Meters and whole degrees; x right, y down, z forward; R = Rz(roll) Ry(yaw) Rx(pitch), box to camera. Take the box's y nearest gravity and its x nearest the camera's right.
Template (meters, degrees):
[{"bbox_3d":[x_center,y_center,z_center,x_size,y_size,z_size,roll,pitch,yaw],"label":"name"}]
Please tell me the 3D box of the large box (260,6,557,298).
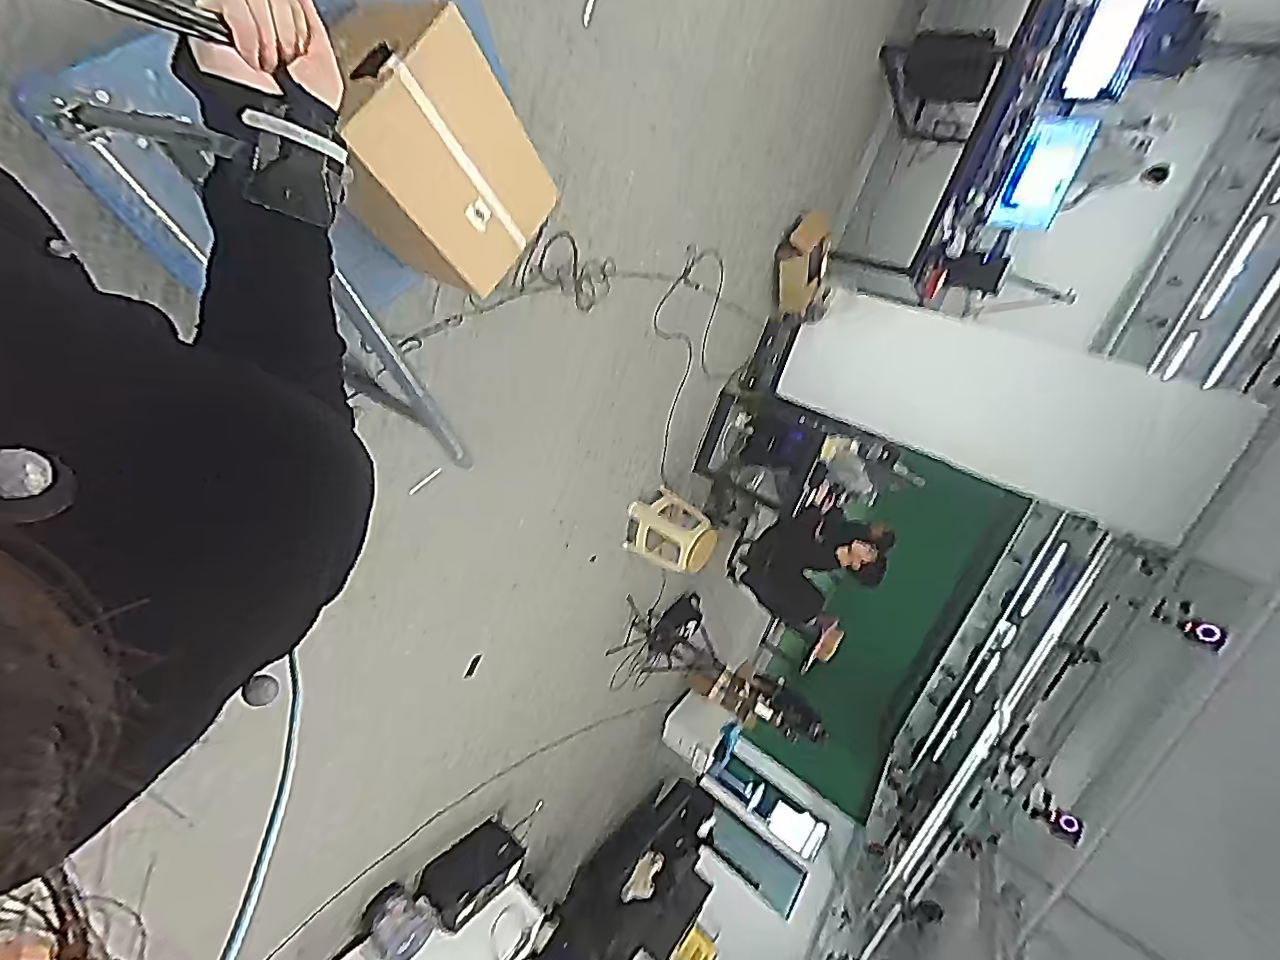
[{"bbox_3d":[-0.454,-0.662,1.128,0.320,0.320,0.408,-56,152,-9],"label":"large box"}]
